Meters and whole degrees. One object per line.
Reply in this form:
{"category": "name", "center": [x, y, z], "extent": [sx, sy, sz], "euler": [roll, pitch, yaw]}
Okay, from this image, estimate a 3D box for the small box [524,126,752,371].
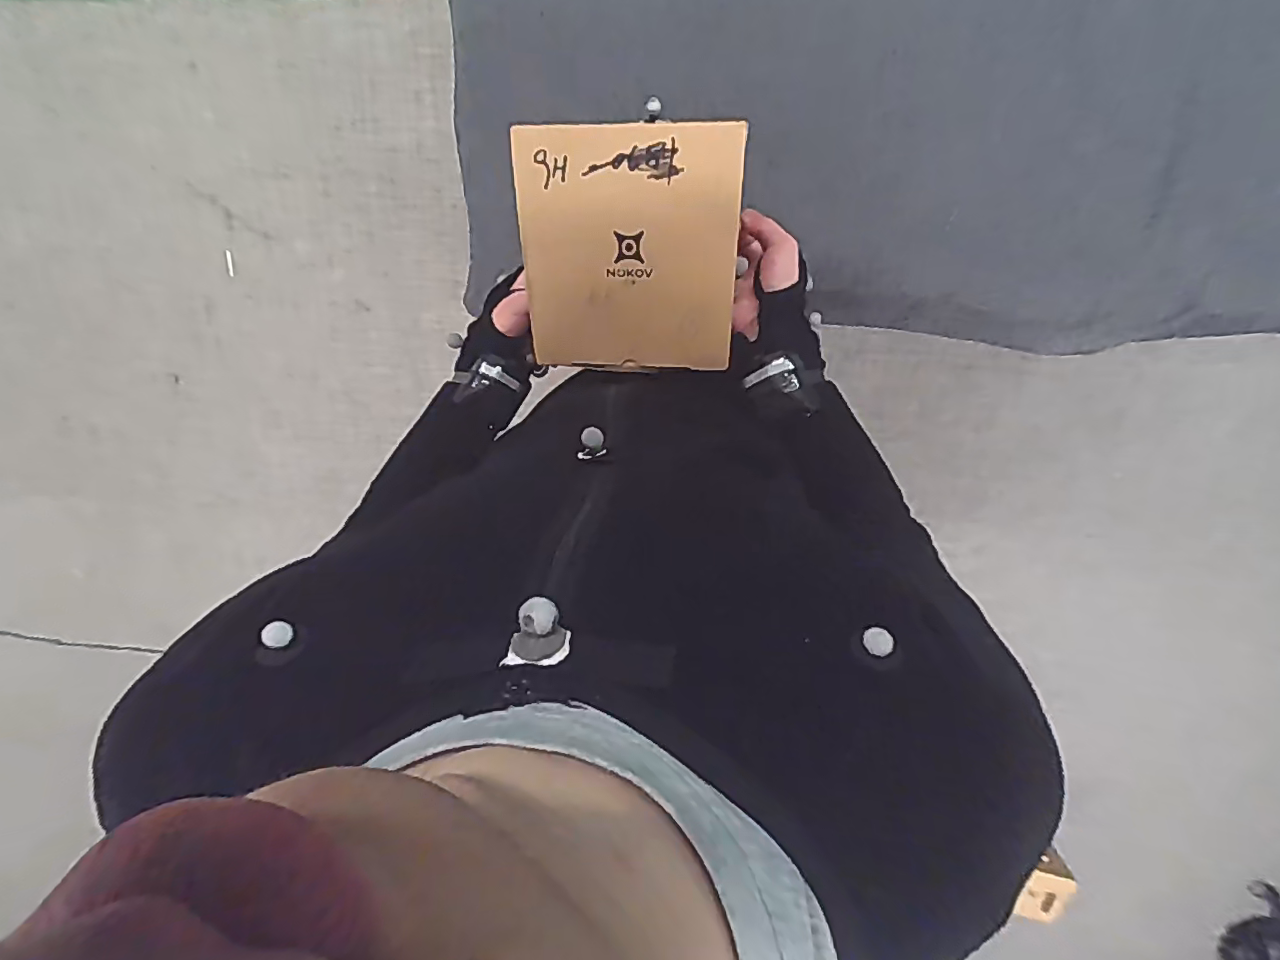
{"category": "small box", "center": [0.006, -0.215, 0.491], "extent": [0.168, 0.176, 0.179], "euler": [3, 123, 5]}
